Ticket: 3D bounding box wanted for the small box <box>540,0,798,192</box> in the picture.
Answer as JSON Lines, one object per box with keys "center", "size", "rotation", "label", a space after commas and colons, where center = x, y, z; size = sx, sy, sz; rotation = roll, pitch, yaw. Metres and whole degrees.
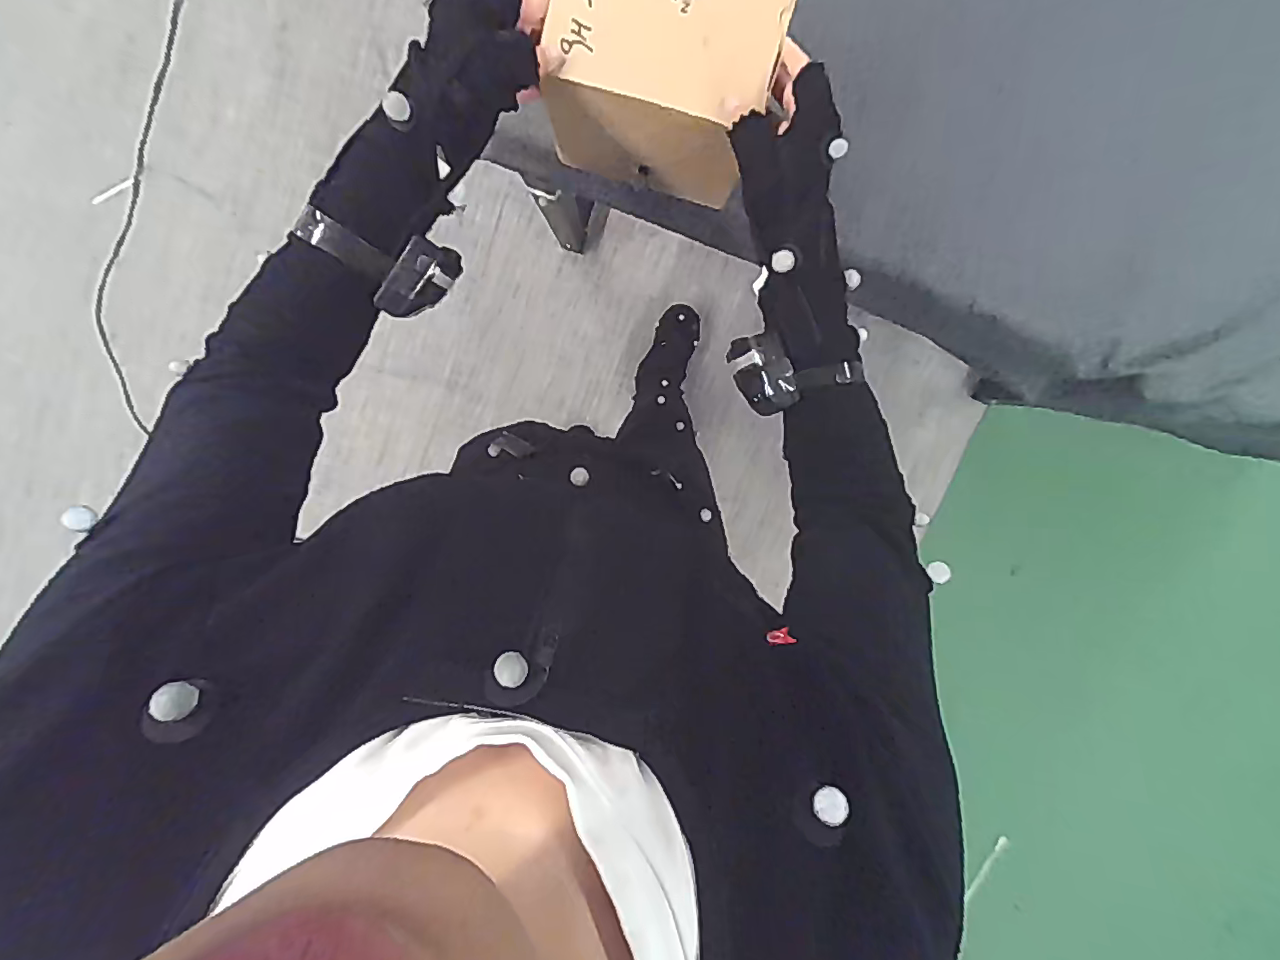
{"center": [0.026, -0.378, 0.473], "size": [0.179, 0.176, 0.168], "rotation": [14, 99, -4], "label": "small box"}
